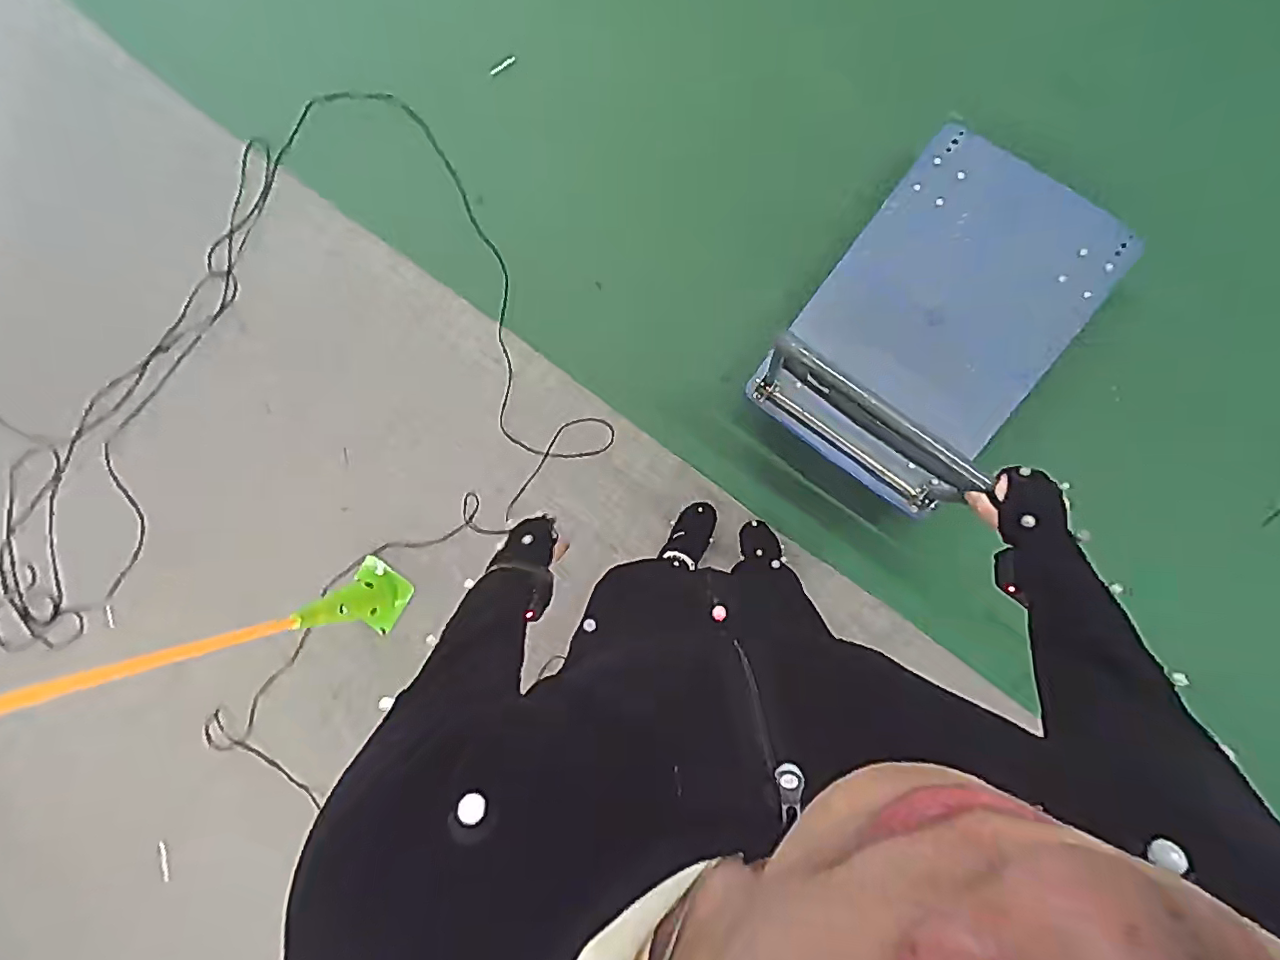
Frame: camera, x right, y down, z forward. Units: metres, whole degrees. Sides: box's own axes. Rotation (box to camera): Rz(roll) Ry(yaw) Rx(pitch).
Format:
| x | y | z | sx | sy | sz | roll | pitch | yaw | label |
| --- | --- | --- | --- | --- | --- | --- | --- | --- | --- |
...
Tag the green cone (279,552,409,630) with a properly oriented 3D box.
| x | y | z | sx | sy | sz | roll | pitch | yaw | label |
| --- | --- | --- | --- | --- | --- | --- | --- | --- | --- |
| -0.901 | 0.358 | 1.602 | 0.202 | 0.368 | 0.200 | 34 | 94 | 9 | green cone |
